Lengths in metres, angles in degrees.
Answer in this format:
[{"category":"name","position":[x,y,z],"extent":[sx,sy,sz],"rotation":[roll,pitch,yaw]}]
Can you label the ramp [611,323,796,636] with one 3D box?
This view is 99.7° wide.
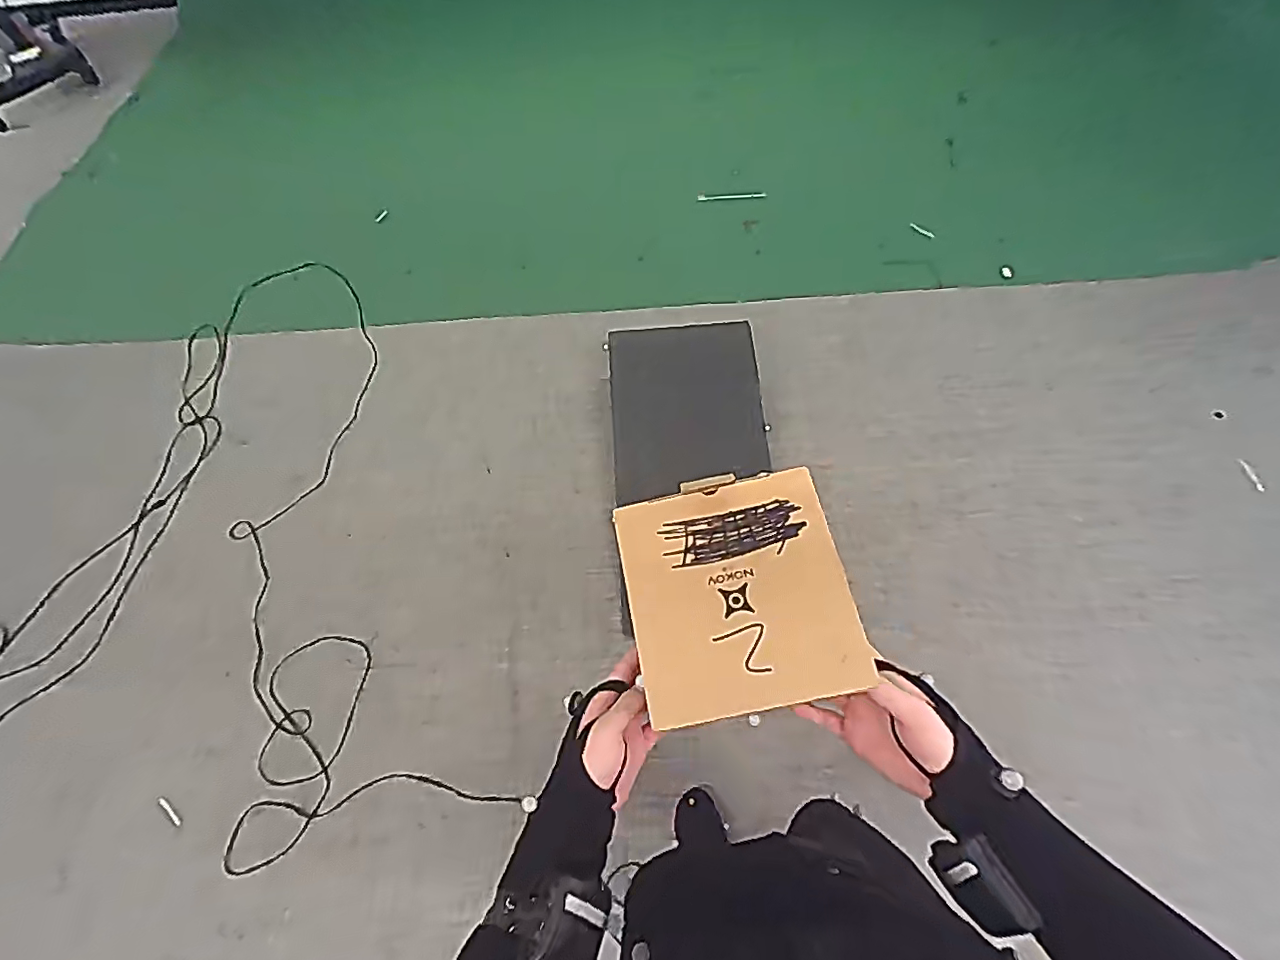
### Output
[{"category":"ramp","position":[0.174,-0.043,1.691],"extent":[0.509,0.206,0.991],"rotation":[-5,62,-1]}]
